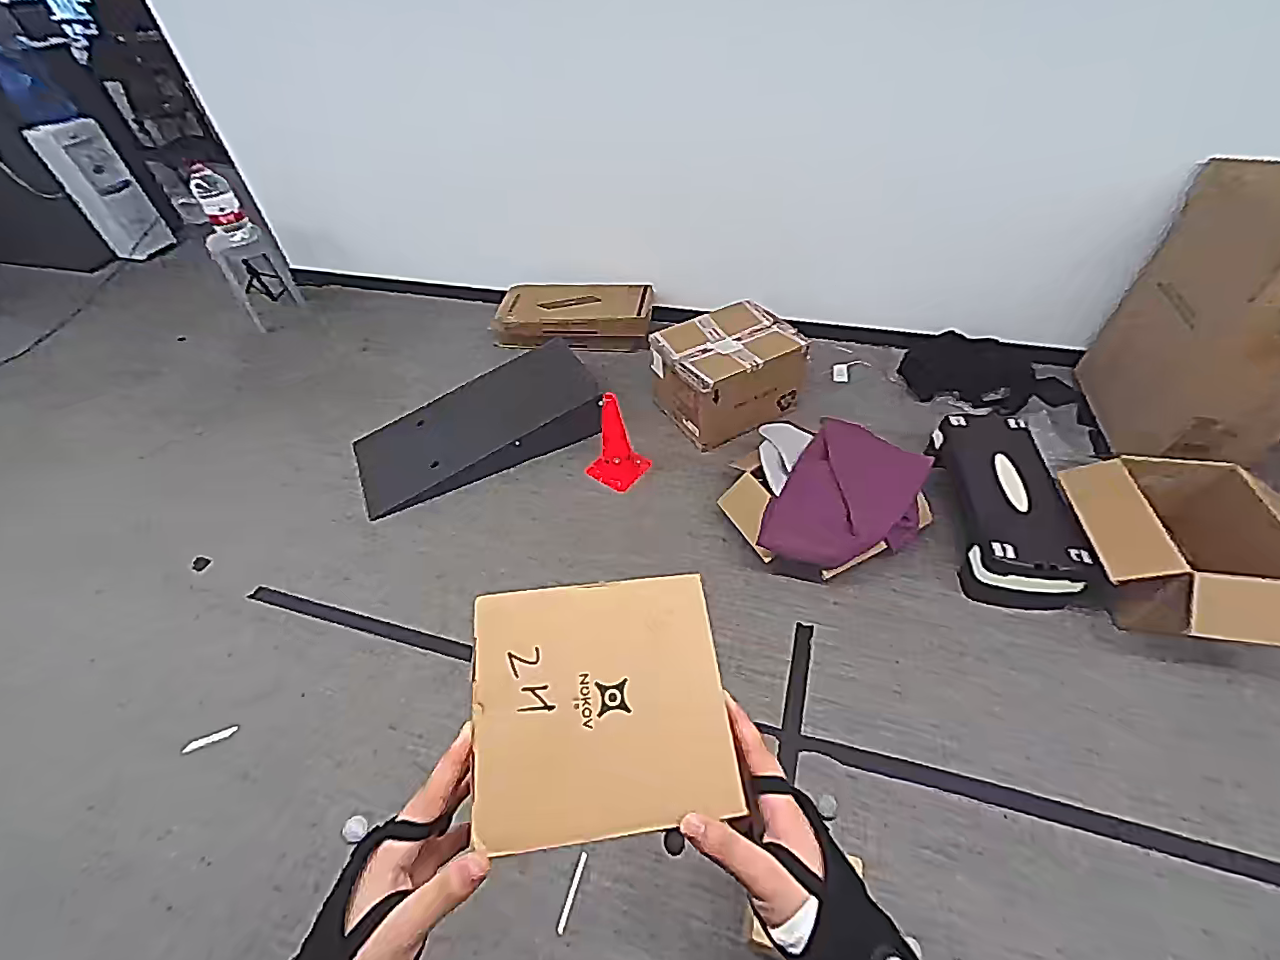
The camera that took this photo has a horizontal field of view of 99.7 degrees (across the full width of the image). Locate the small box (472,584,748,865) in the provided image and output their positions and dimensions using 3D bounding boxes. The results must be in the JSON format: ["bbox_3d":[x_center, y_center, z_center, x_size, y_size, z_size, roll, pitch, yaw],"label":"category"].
[{"bbox_3d":[-0.030,0.196,0.442,0.179,0.176,0.168,-4,60,-7],"label":"small box"}]

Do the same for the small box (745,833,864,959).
[{"bbox_3d":[0.292,0.773,0.977,0.179,0.176,0.168,11,49,13],"label":"small box"}]
